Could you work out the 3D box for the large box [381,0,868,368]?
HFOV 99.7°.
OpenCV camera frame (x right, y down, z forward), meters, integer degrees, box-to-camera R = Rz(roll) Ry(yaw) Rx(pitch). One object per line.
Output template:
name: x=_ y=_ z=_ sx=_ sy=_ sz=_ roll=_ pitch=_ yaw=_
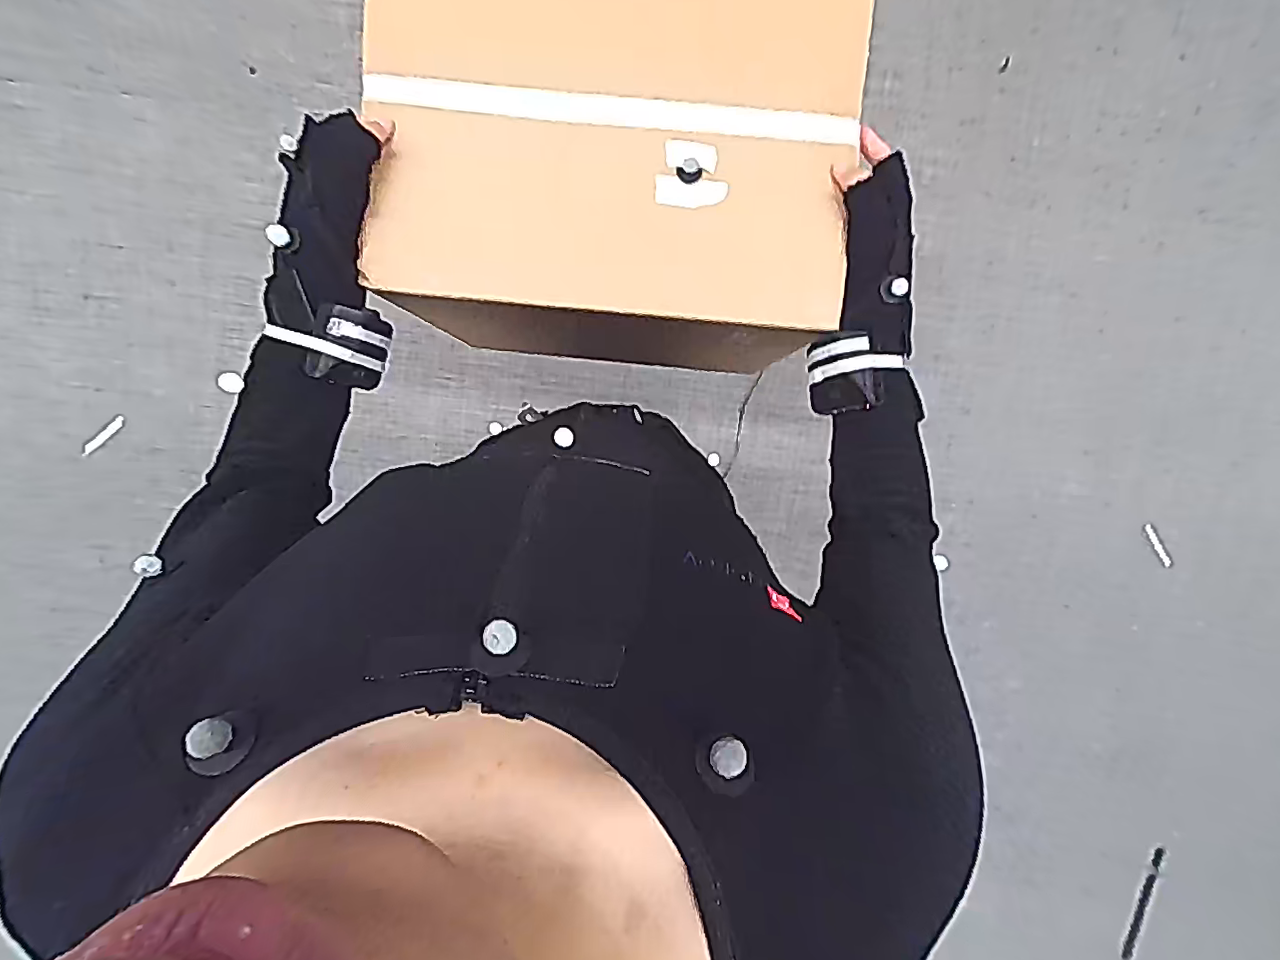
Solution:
large box: x=-0.018 y=-0.313 z=0.605 sx=0.408 sy=0.320 sz=0.320 roll=5 pitch=94 yaw=-1
